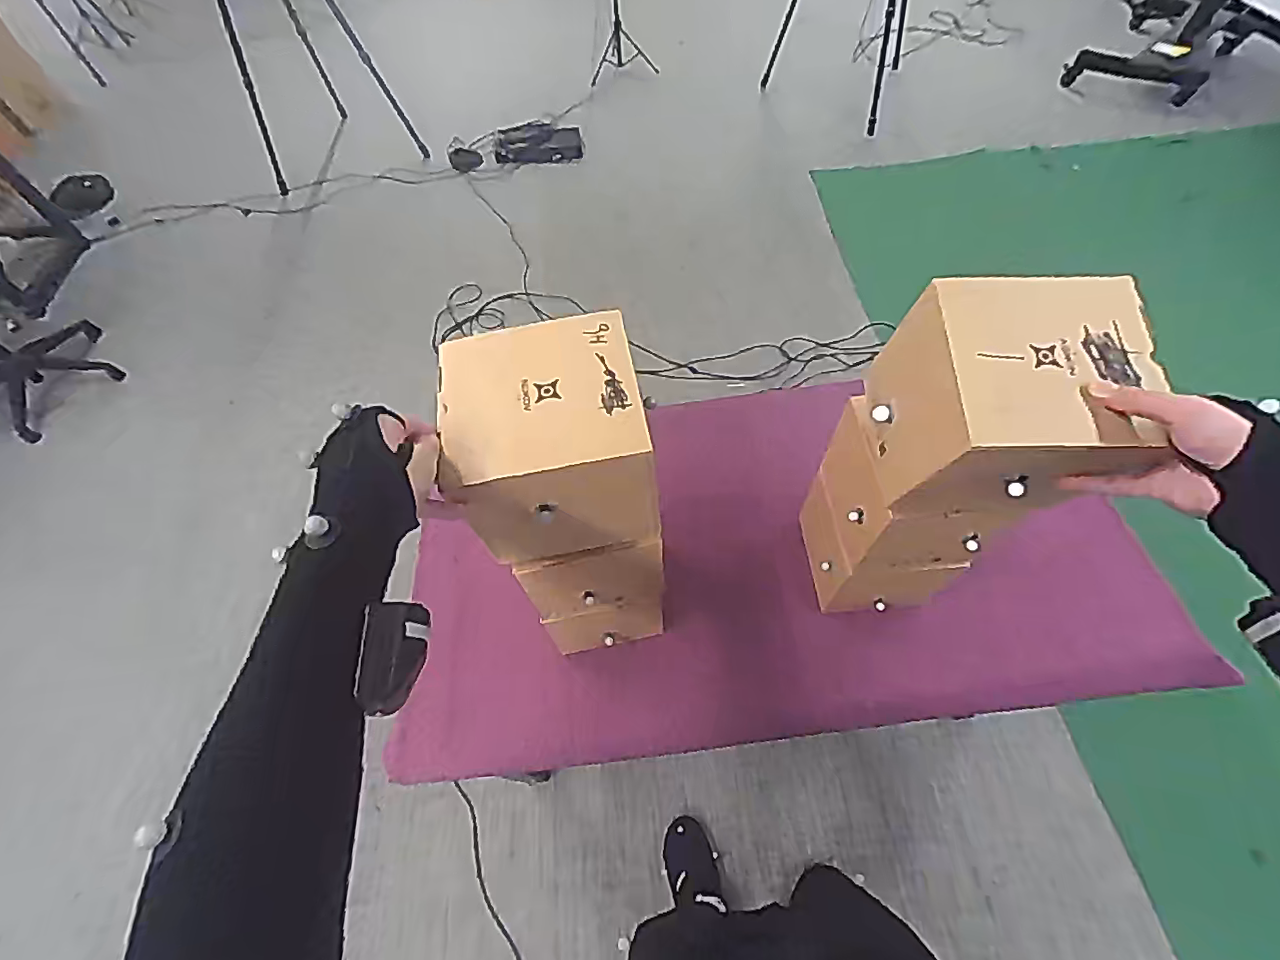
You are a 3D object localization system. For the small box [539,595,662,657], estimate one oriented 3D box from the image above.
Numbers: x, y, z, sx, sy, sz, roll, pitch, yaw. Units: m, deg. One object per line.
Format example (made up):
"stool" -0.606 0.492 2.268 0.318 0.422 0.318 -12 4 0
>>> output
"small box" -0.063 0.154 0.837 0.168 0.176 0.179 -11 57 -2

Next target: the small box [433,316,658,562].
"small box" -0.086 -0.031 0.545 0.179 0.176 0.168 -11 60 0

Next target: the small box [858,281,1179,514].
"small box" 0.337 -0.070 0.525 0.179 0.176 0.168 0 68 2

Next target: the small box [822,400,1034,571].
"small box" 0.351 0.010 0.700 0.168 0.176 0.179 -5 57 1

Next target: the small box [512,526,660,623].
"small box" -0.072 0.063 0.703 0.168 0.176 0.179 -13 58 -4
